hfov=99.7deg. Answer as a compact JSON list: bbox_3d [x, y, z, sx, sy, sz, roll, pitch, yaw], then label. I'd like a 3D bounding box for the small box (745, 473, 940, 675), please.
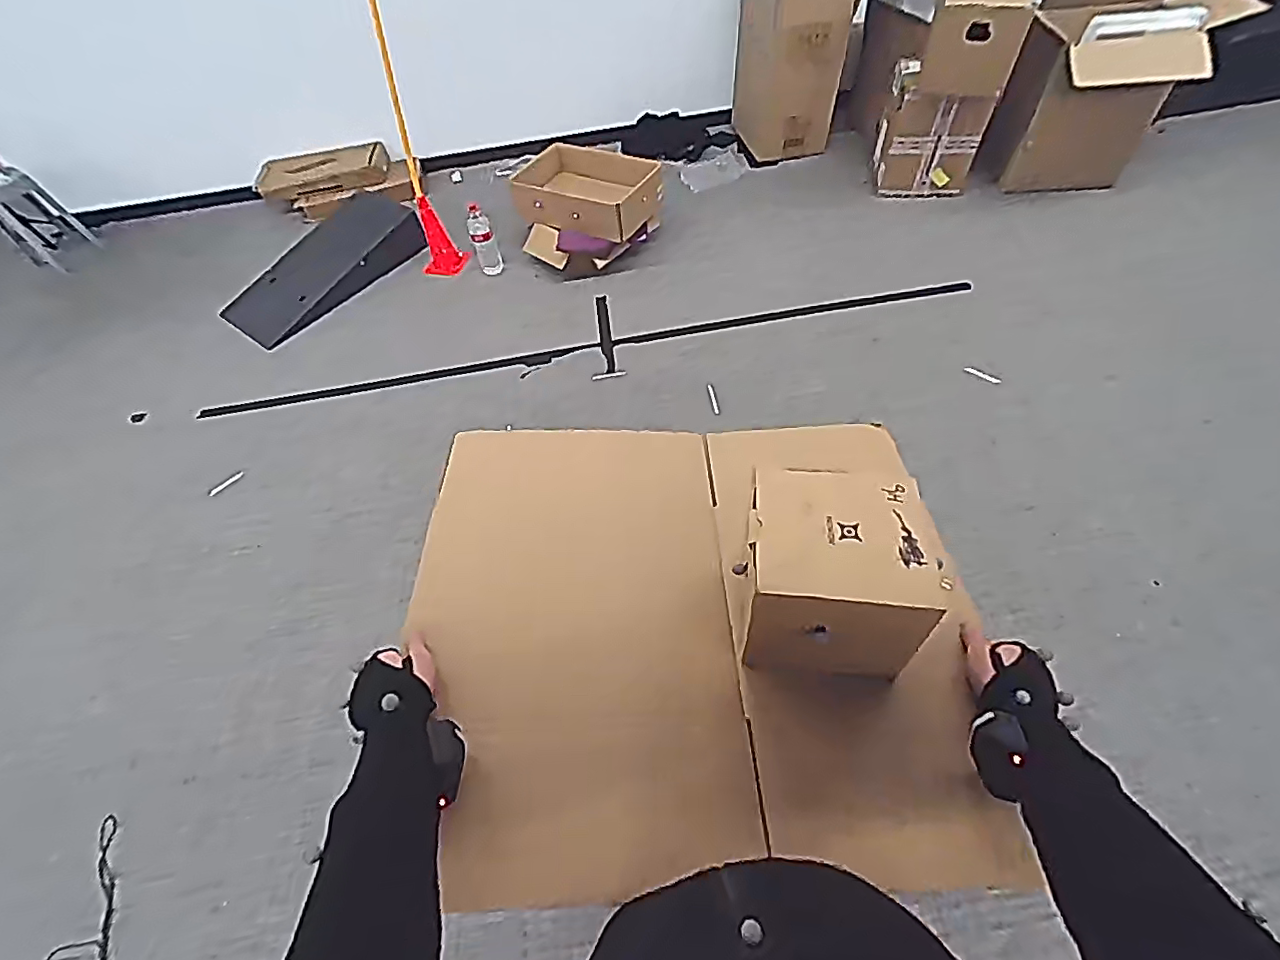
[{"bbox_3d":[0.213,0.110,0.624,0.179,0.176,0.168,3,50,9],"label":"small box"}]
